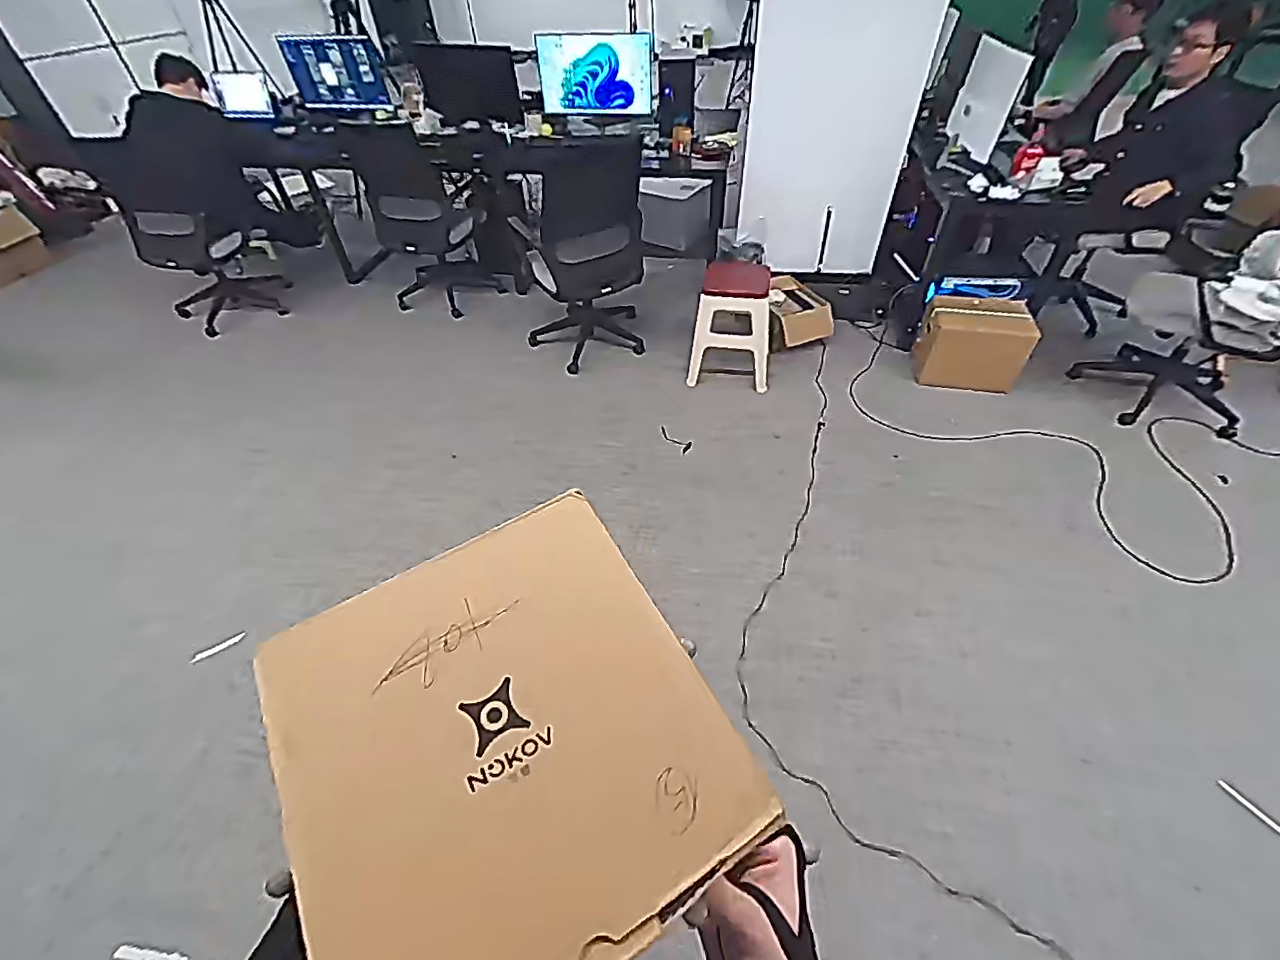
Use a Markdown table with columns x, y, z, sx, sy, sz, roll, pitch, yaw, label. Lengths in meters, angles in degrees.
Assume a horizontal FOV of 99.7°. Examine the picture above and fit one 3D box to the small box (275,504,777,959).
| x | y | z | sx | sy | sz | roll | pitch | yaw | label |
| --- | --- | --- | --- | --- | --- | --- | --- | --- | --- |
| -0.055 | 0.152 | 0.300 | 0.168 | 0.176 | 0.179 | -28 | 59 | -18 | small box |
